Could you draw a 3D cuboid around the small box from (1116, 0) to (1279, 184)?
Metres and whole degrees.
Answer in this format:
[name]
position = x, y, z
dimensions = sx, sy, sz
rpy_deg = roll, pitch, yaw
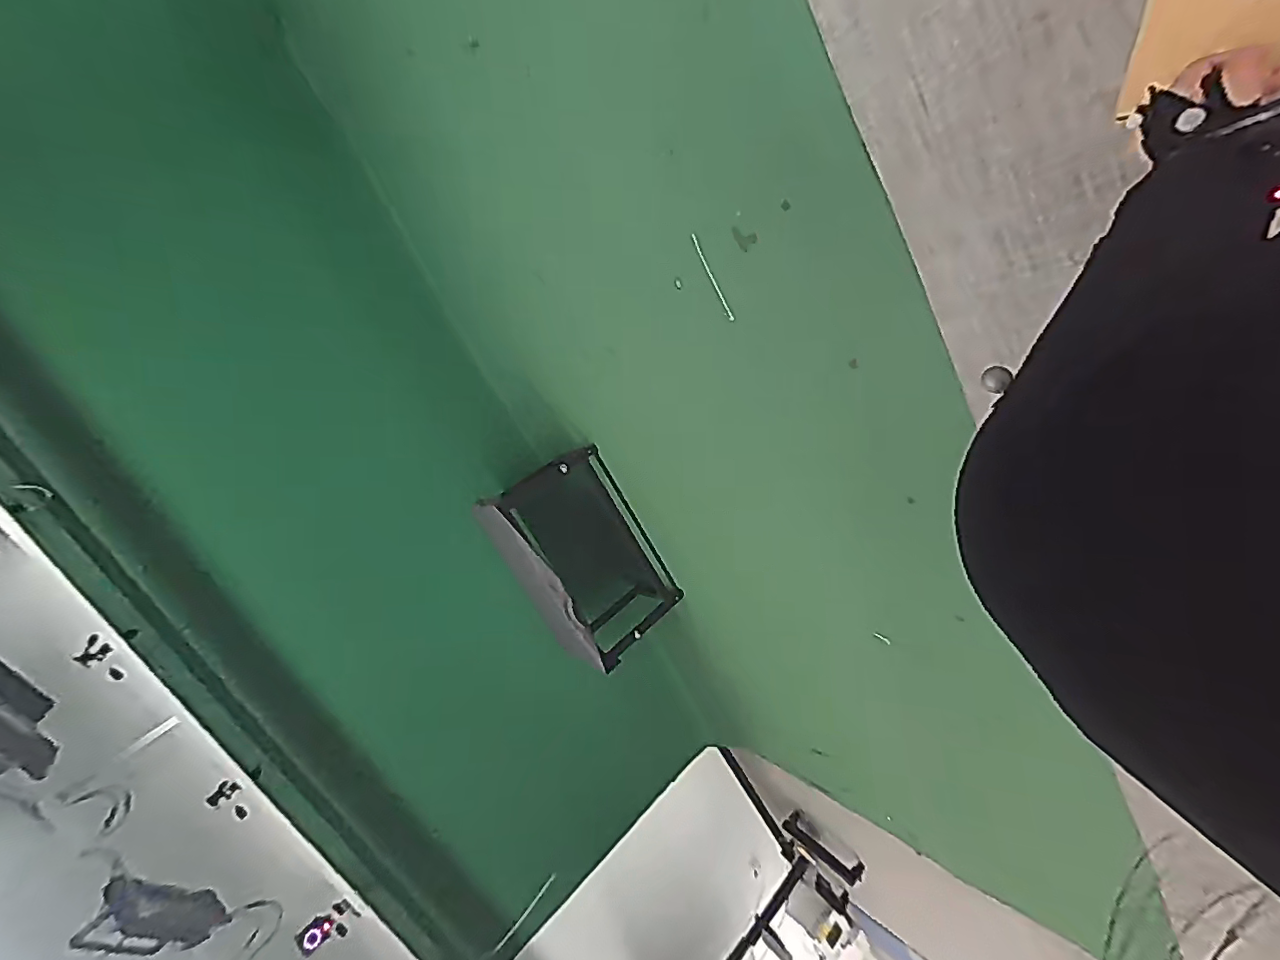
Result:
[small box]
position = 0.583, -0.403, 0.500
dimensions = 0.168, 0.179, 0.176
rpy_deg = 22, 109, 48
